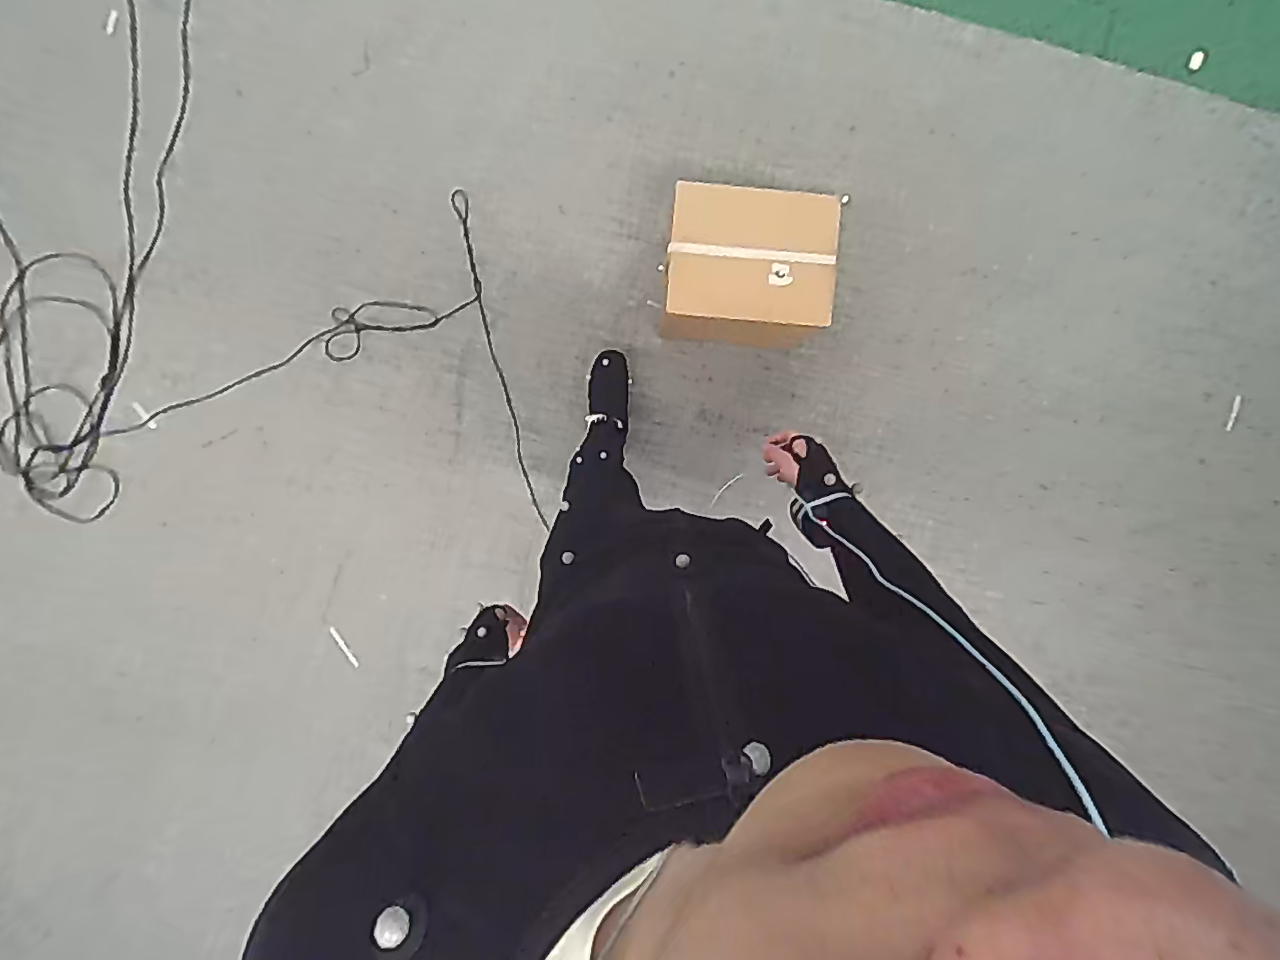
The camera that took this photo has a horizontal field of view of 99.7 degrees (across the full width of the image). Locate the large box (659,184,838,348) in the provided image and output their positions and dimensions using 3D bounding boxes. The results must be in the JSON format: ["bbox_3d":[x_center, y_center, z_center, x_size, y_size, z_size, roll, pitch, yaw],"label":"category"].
[{"bbox_3d":[0.264,-0.546,1.444,0.408,0.320,0.320,4,93,-2],"label":"large box"}]
